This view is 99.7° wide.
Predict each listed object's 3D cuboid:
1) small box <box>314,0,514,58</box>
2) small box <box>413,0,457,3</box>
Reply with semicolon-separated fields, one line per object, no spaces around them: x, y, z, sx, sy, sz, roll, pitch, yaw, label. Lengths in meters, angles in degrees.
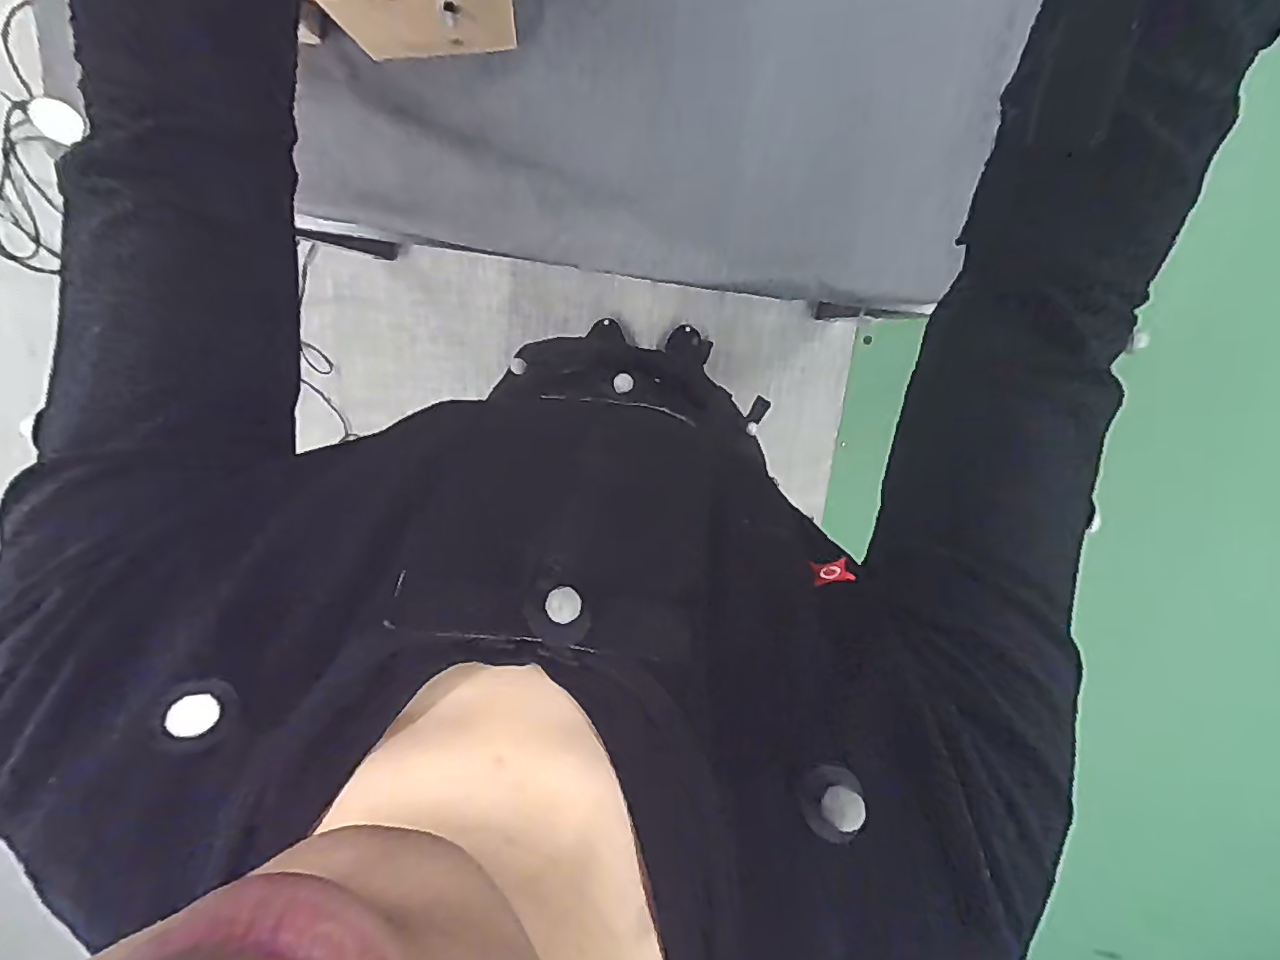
-0.224;-0.535;0.511;0.168;0.176;0.179;-4;105;0;small box
-0.223;-0.465;0.363;0.168;0.176;0.179;-2;105;0;small box
